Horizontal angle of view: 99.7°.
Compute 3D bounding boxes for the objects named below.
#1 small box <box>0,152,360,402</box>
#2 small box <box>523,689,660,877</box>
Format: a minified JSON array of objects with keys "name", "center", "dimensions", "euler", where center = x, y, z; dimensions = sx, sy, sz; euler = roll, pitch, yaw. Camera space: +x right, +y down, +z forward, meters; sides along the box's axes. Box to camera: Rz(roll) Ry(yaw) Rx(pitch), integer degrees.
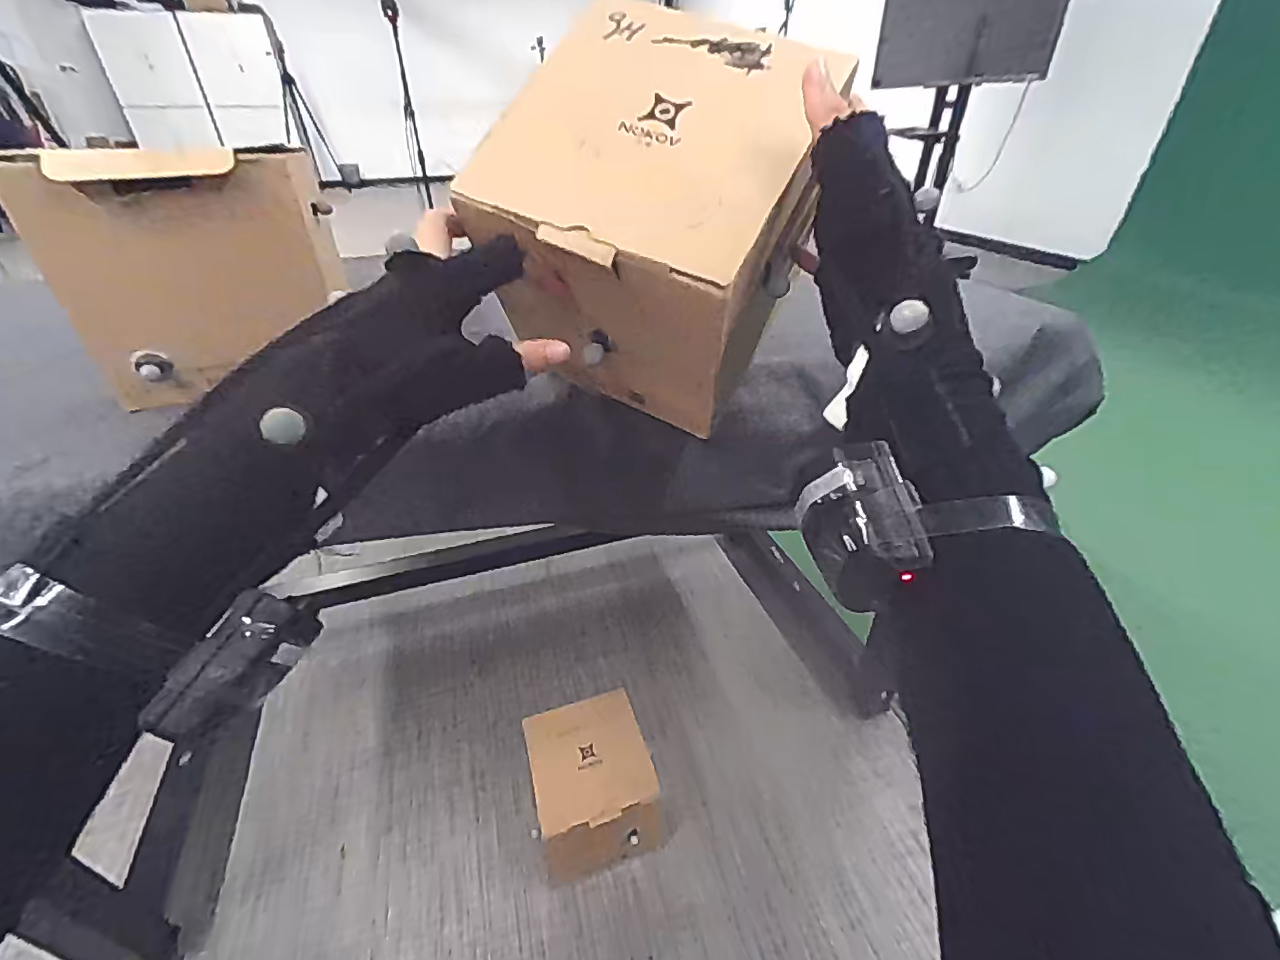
[{"name":"small box","center":[-0.353,-0.175,0.463],"dimensions":[0.168,0.176,0.179],"euler":[-13,34,-18]},{"name":"small box","center":[-0.073,0.461,0.819],"dimensions":[0.168,0.176,0.179],"euler":[-11,34,-16]}]
